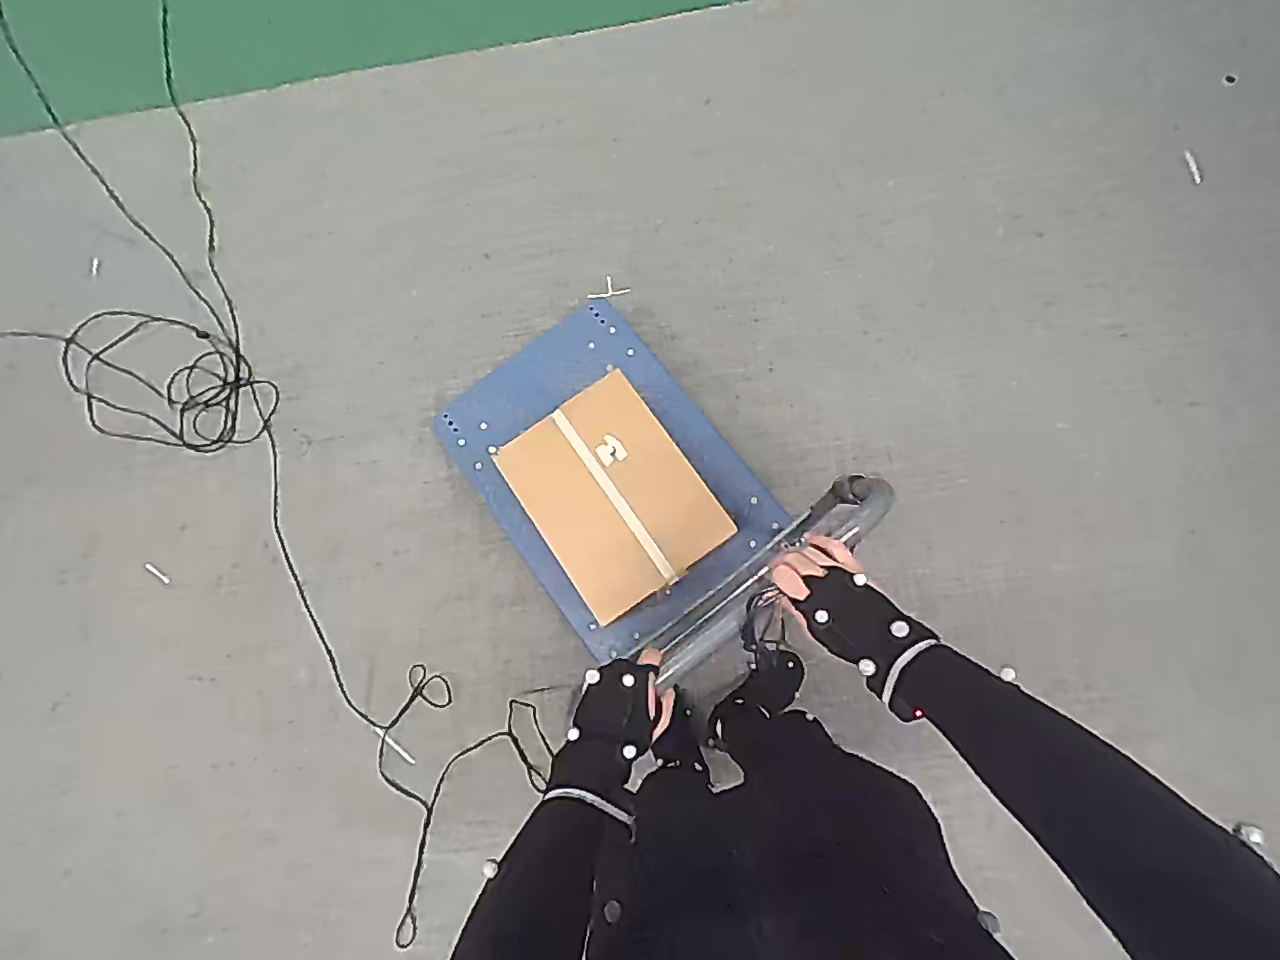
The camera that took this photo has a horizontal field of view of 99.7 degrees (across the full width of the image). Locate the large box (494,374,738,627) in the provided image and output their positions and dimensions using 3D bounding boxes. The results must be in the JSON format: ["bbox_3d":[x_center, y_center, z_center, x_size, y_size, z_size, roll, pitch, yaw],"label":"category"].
[{"bbox_3d":[-0.038,0.058,1.171,0.320,0.320,0.408,-35,77,-4],"label":"large box"}]
